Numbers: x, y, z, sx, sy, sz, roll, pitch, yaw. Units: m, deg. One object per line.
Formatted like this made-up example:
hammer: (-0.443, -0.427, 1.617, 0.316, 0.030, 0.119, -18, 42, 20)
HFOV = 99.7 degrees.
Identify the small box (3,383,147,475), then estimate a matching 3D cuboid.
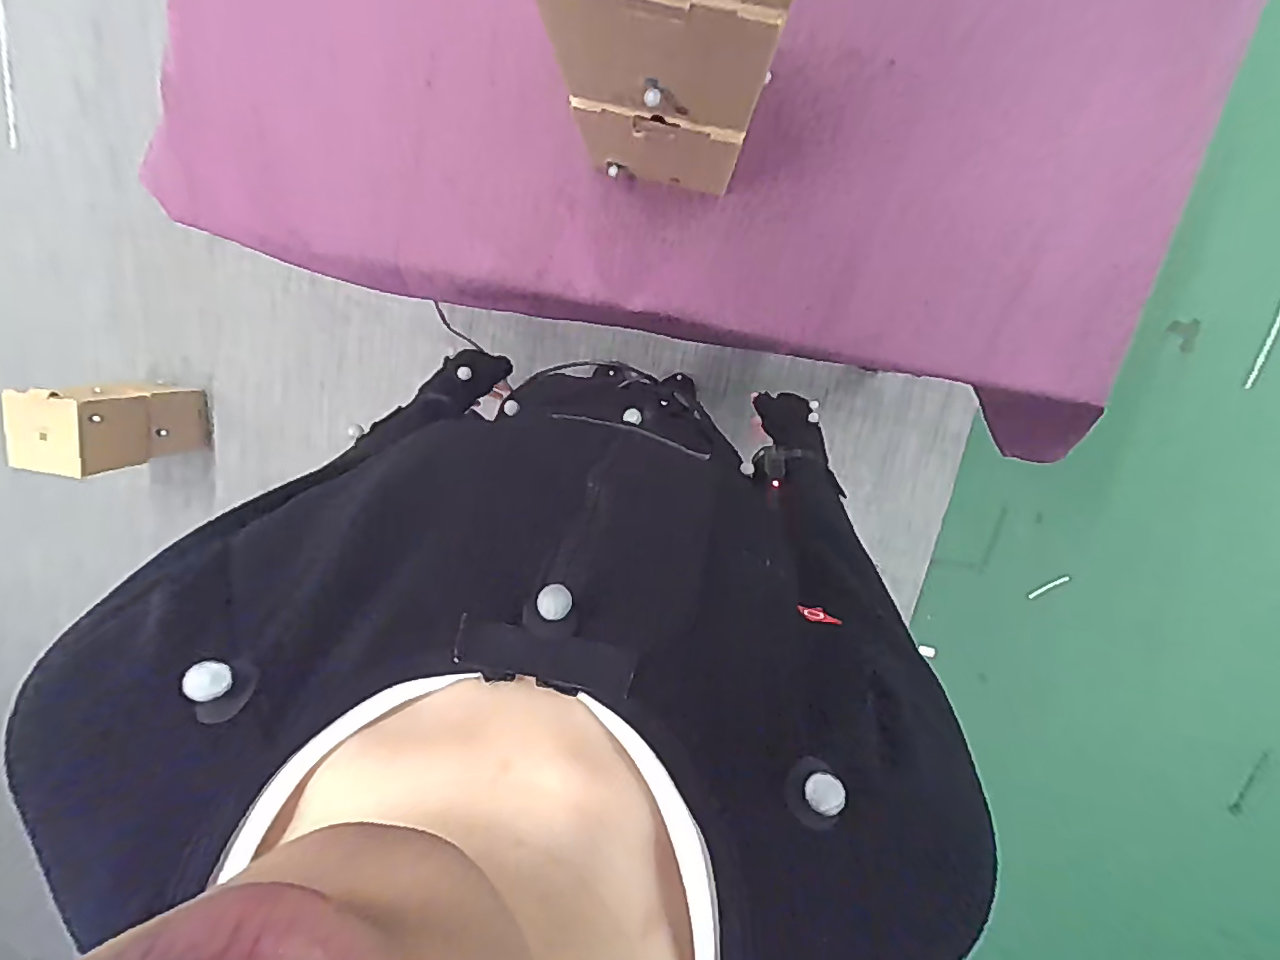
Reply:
small box: (-1.294, -0.124, 1.253, 0.168, 0.176, 0.179, 9, 102, 0)

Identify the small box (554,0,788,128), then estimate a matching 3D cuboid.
small box: (0.031, -0.402, 0.397, 0.168, 0.176, 0.179, 12, 103, 0)

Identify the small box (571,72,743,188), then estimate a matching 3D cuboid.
small box: (0.036, -0.429, 0.559, 0.168, 0.176, 0.179, 13, 102, -1)

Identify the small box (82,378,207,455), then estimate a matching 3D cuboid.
small box: (-1.284, -0.172, 1.409, 0.179, 0.176, 0.168, 10, 103, 0)
